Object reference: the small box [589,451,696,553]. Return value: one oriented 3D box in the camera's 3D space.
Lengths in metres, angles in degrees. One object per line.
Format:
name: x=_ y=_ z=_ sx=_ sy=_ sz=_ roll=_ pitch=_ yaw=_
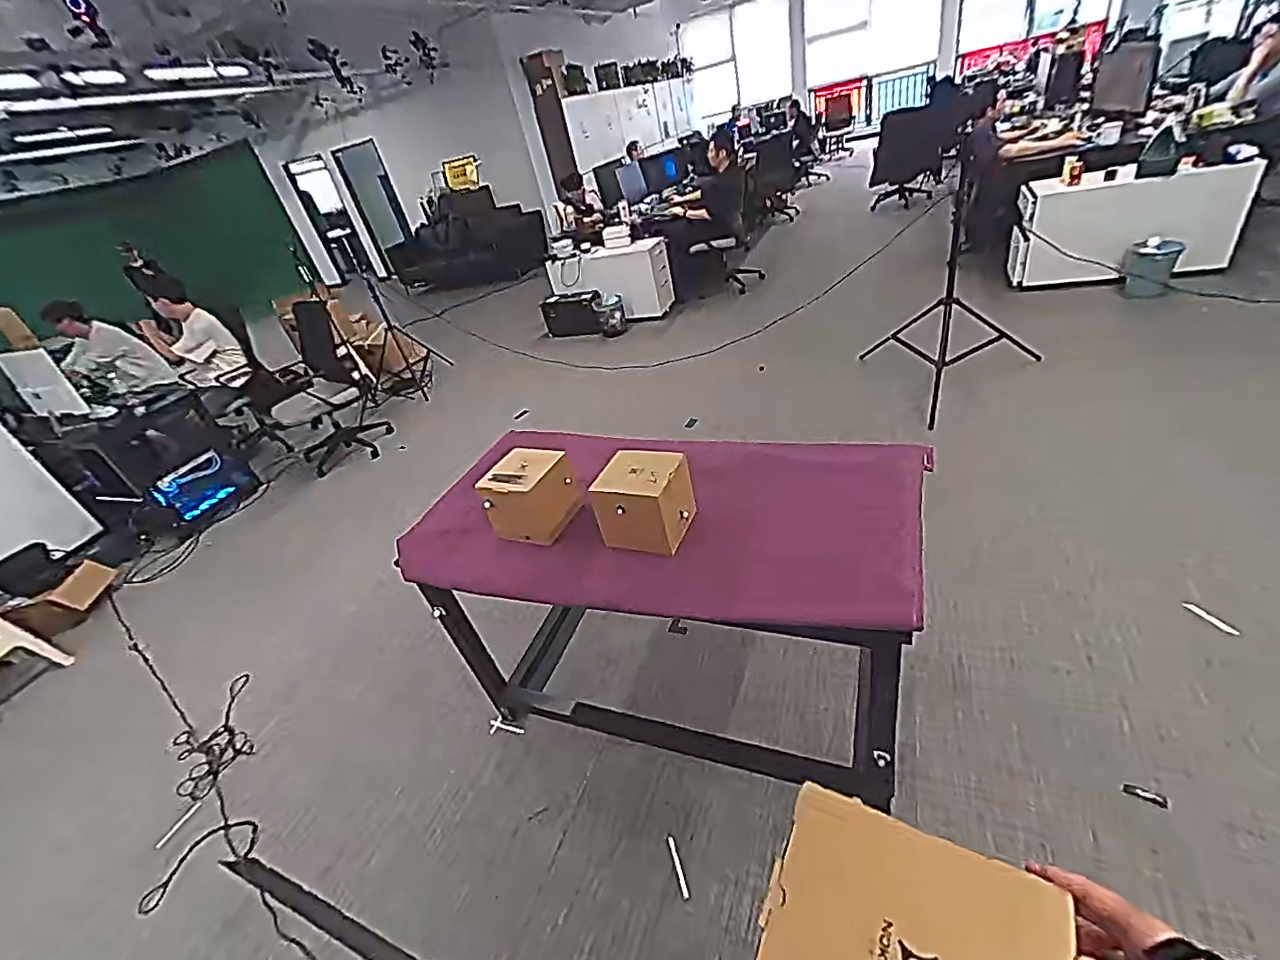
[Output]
small box: x=0.014 y=0.049 z=1.243 sx=0.179 sy=0.176 sz=0.168 roll=5 pitch=39 yaw=27
